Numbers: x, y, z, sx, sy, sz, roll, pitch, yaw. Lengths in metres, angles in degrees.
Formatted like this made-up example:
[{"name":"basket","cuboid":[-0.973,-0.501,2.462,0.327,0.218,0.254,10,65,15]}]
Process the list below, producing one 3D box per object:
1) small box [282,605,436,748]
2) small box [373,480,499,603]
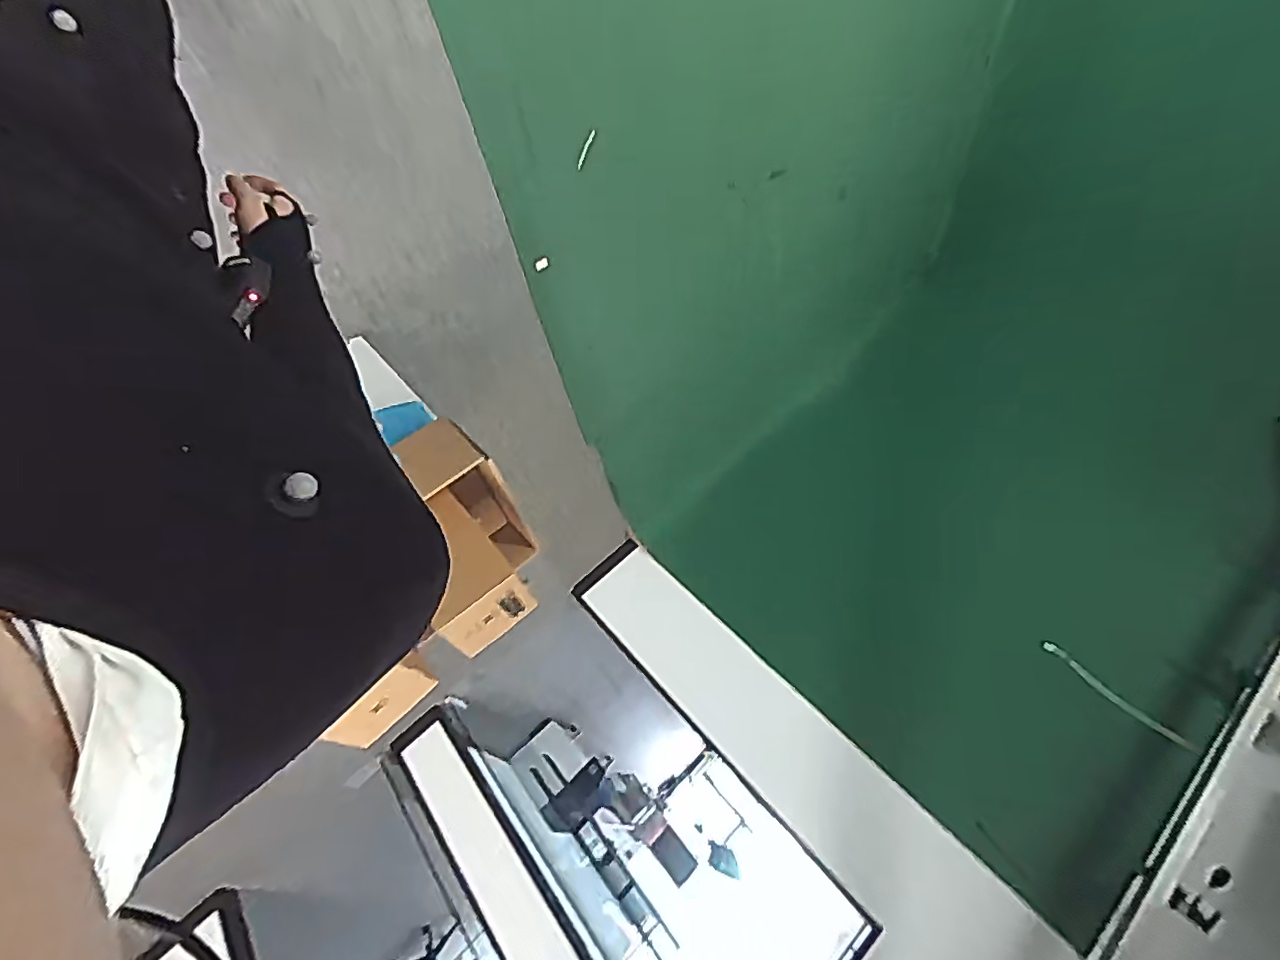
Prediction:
[{"name":"small box","cuboid":[-0.537,0.372,1.035,0.179,0.176,0.168,-40,148,-14]},{"name":"small box","cuboid":[-0.452,0.133,1.201,0.179,0.176,0.168,-36,147,-16]}]
